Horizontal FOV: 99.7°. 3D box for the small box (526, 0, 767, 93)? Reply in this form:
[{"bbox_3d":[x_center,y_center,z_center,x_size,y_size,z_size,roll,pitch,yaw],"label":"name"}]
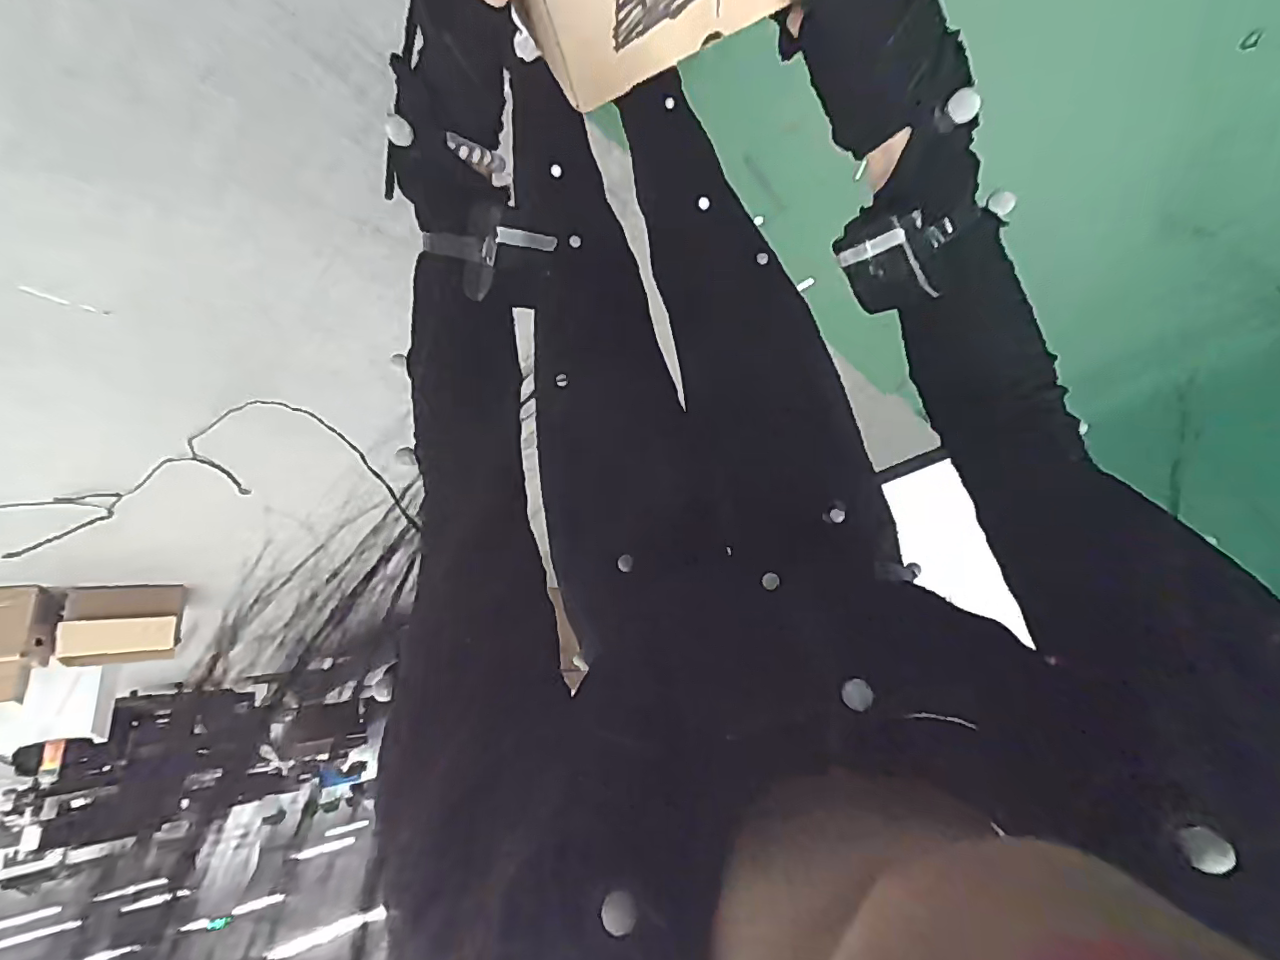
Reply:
[{"bbox_3d":[-0.009,-0.345,0.251,0.168,0.176,0.179,-26,156,3],"label":"small box"}]
